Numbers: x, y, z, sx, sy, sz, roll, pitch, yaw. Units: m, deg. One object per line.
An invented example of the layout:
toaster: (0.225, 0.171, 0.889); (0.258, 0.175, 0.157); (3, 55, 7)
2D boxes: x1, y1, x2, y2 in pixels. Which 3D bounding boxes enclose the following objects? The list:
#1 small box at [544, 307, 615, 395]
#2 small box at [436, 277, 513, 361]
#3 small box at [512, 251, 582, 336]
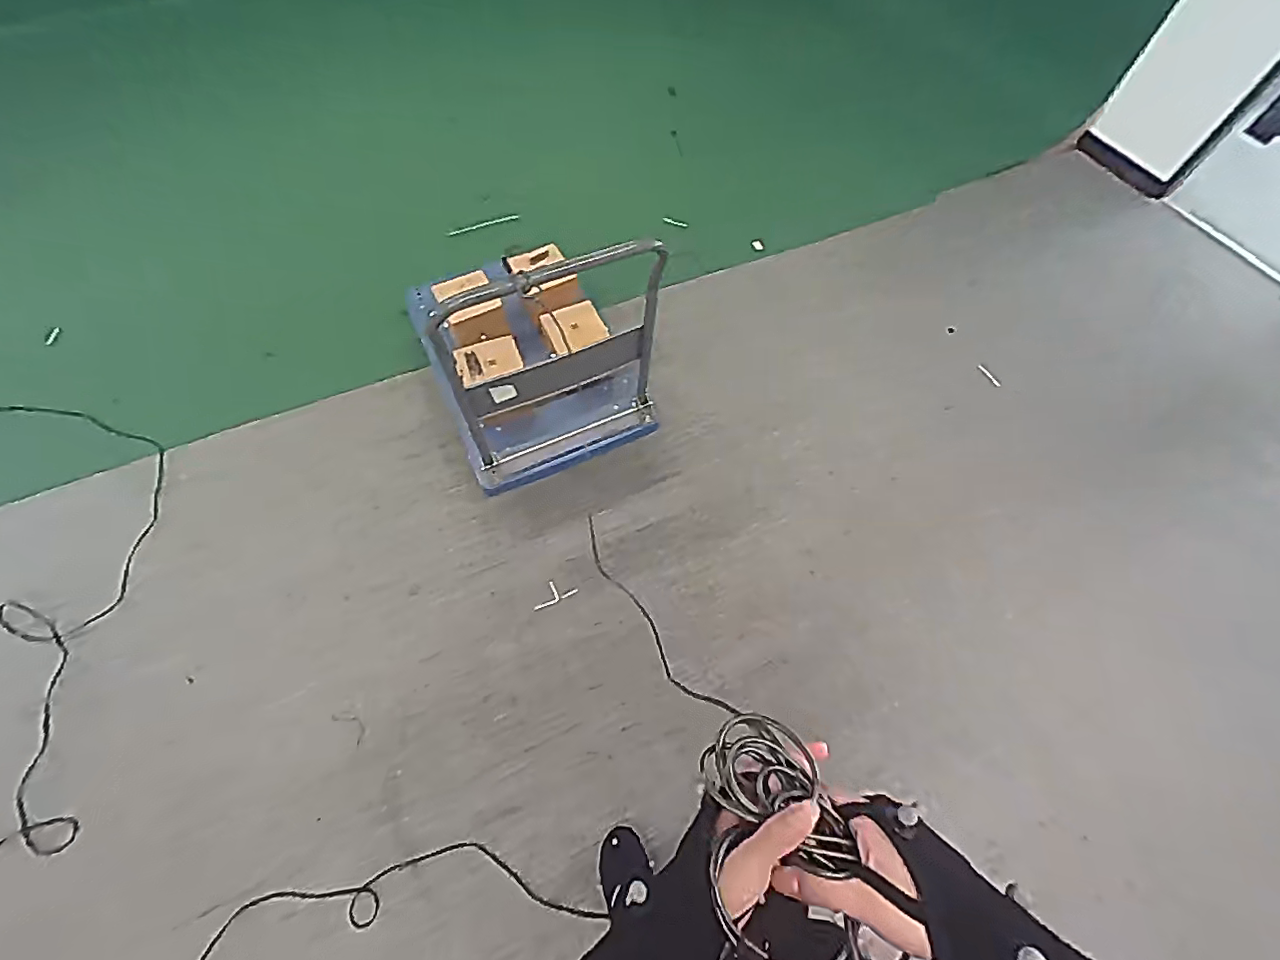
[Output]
small box: (-0.184, -0.397, 1.672); (0.168, 0.176, 0.179); (-22, 65, -12)
small box: (-0.521, -0.502, 1.721); (0.168, 0.176, 0.179); (-26, 65, -15)
small box: (-0.303, -0.612, 1.783); (0.168, 0.176, 0.179); (-27, 67, -14)
